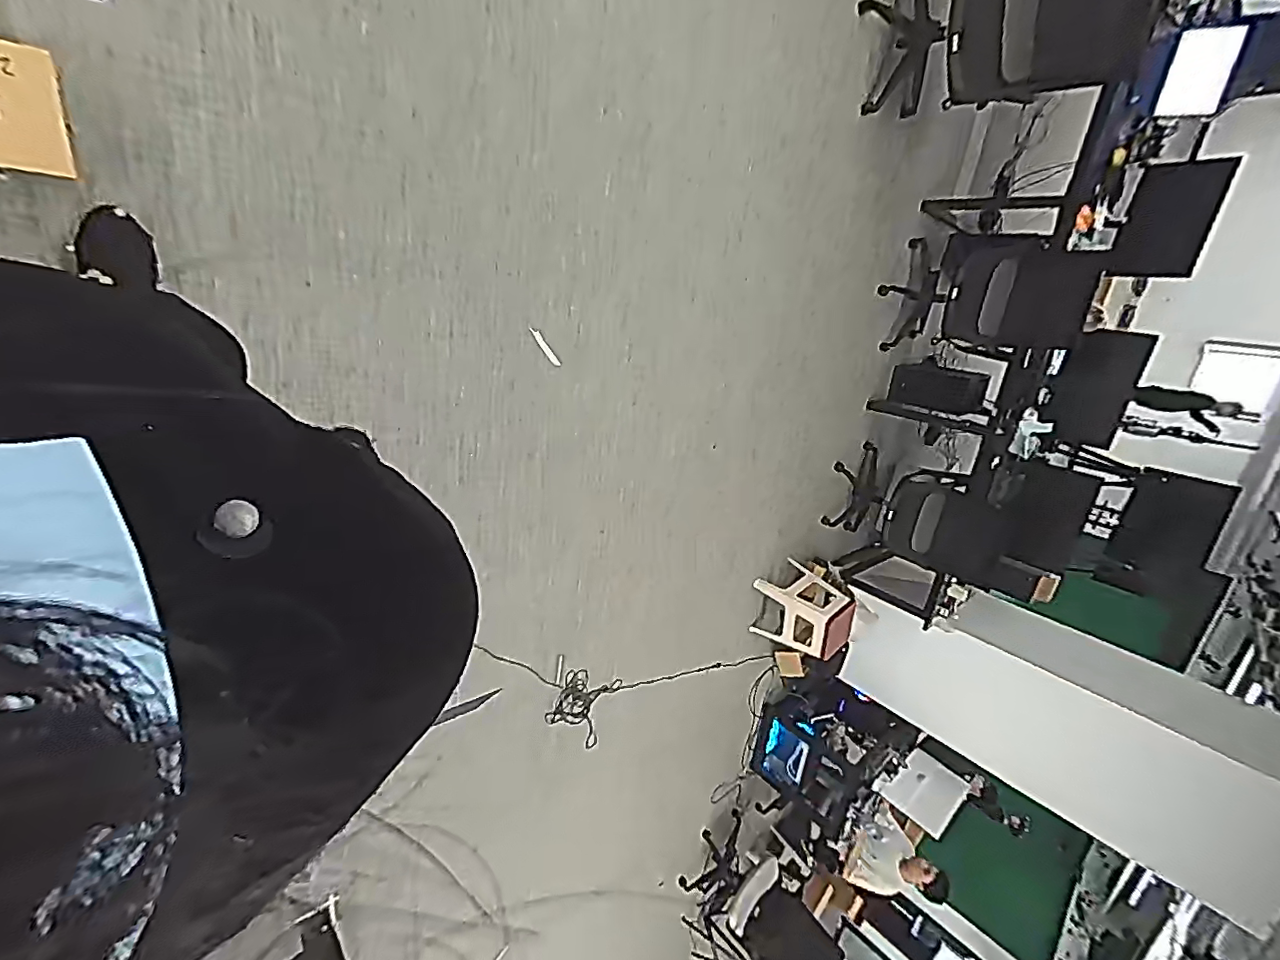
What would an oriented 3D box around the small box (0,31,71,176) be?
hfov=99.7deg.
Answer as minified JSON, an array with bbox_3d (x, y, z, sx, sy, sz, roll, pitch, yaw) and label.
[{"bbox_3d":[-1.008,-0.582,0.829,0.168,0.176,0.179,-11,115,-42],"label":"small box"}]
